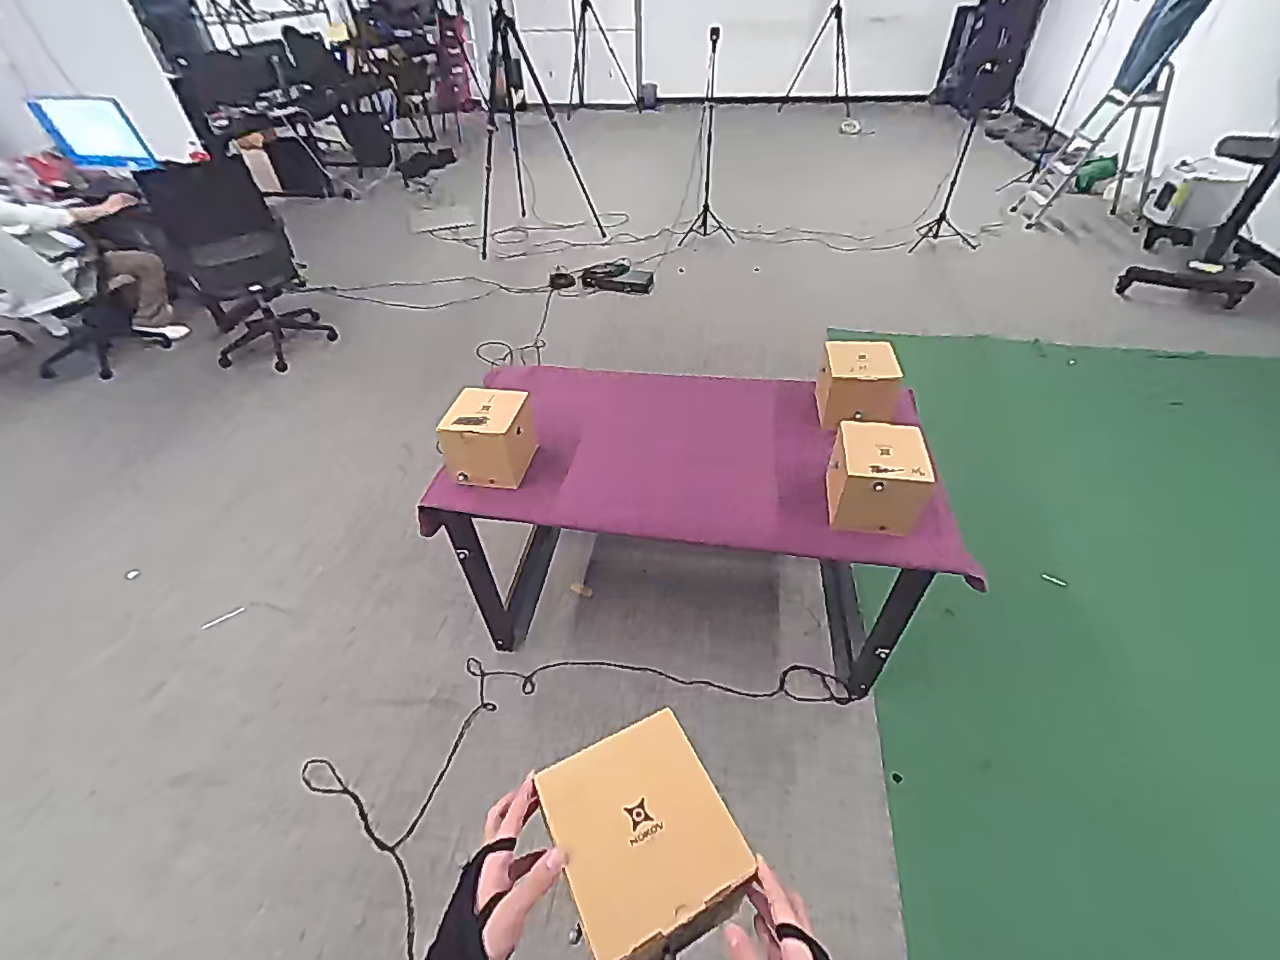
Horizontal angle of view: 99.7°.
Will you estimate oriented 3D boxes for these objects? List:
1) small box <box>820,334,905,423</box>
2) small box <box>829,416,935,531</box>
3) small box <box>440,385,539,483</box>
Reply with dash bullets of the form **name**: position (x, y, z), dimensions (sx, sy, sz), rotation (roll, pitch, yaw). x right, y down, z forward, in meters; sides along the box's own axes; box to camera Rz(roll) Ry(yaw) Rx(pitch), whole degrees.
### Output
- **small box**: position (0.571, -0.264, 1.413), dimensions (0.168, 0.176, 0.179), rotation (2, 46, 10)
- **small box**: position (0.509, -0.016, 1.167), dimensions (0.168, 0.176, 0.179), rotation (5, 45, 11)
- **small box**: position (-0.357, -0.111, 1.323), dimensions (0.168, 0.176, 0.179), rotation (5, 43, 8)
